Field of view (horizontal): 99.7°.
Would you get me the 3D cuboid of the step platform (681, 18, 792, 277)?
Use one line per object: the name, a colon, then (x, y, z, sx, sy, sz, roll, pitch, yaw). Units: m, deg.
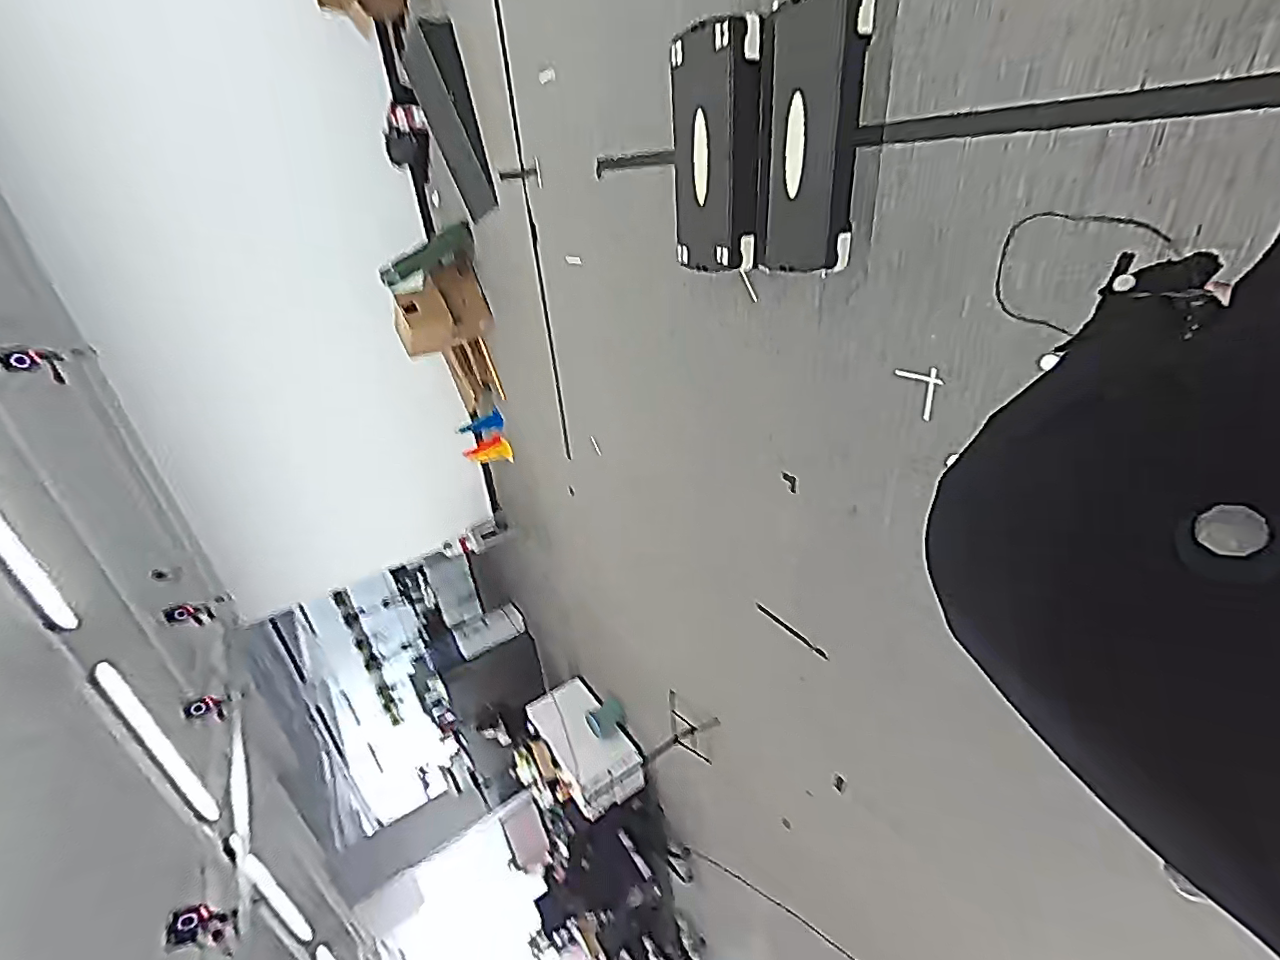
step platform: (0.292, -1.003, 1.703, 0.286, 0.204, 0.684, 30, 133, 48)
